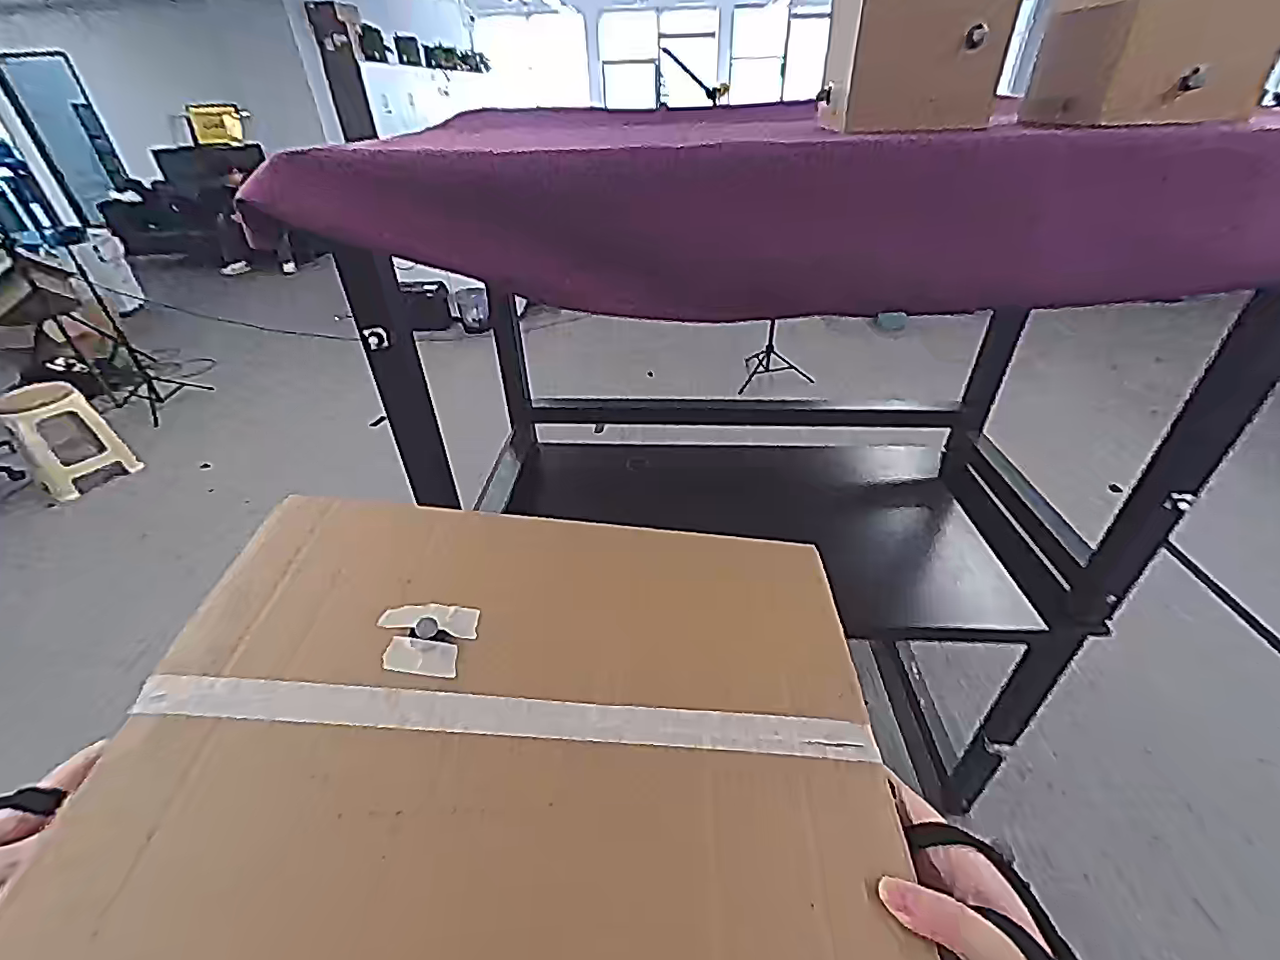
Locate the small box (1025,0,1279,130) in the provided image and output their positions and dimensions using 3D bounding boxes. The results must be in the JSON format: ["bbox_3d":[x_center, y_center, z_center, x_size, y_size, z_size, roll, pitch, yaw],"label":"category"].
[{"bbox_3d":[0.605,-0.517,0.632,0.179,0.176,0.168,0,34,2],"label":"small box"}]

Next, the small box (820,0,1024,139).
[{"bbox_3d":[0.342,-0.537,0.679,0.179,0.176,0.168,0,34,4],"label":"small box"}]

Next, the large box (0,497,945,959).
[{"bbox_3d":[-0.075,0.239,0.395,0.408,0.320,0.320,5,42,-3],"label":"large box"}]
